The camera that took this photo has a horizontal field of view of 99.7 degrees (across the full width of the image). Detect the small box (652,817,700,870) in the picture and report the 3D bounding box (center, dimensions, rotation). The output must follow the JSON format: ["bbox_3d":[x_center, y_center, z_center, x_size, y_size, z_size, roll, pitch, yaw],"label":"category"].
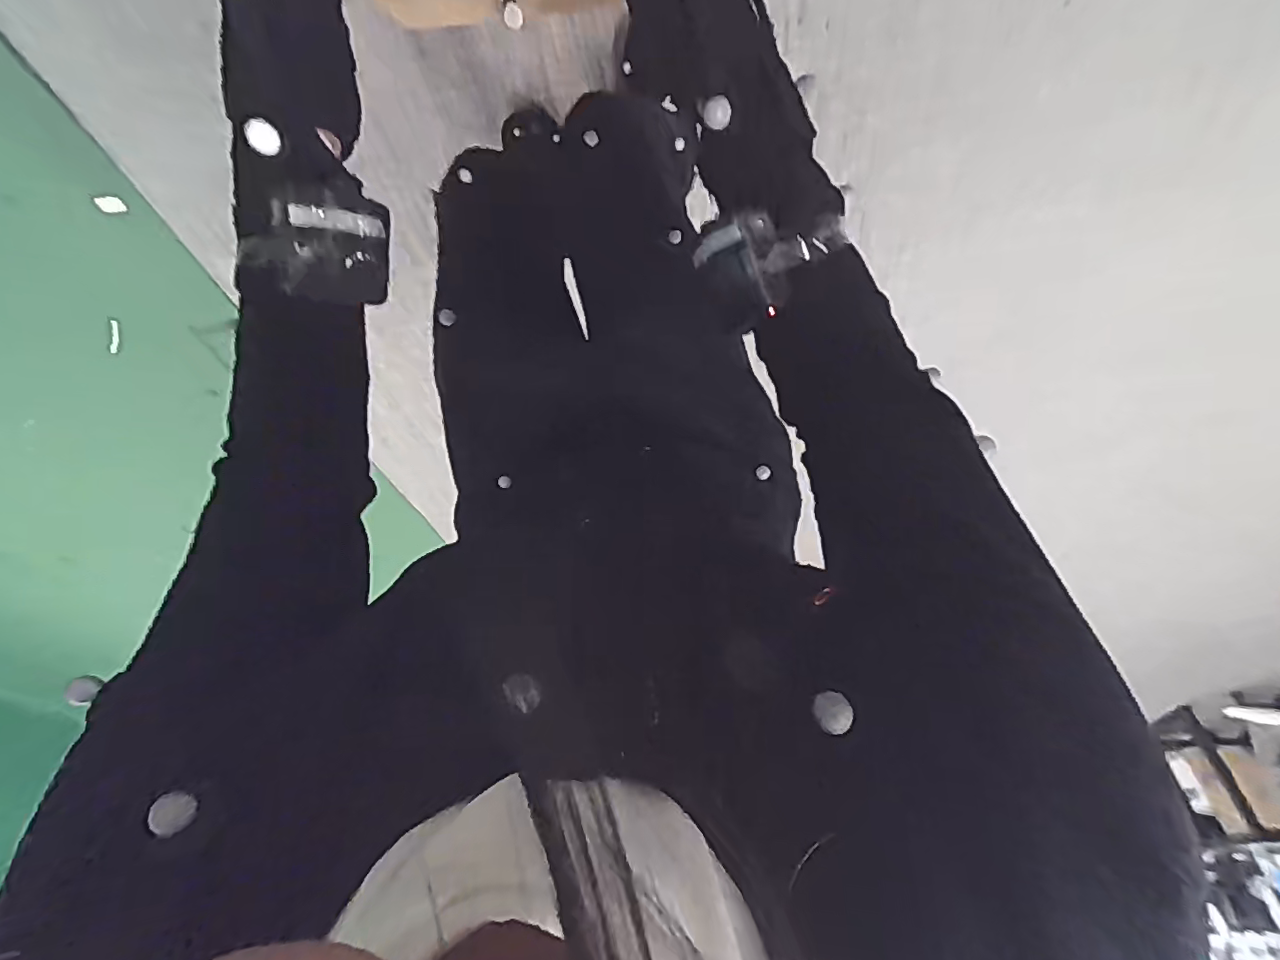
[{"bbox_3d":[0.149,1.525,2.263,0.179,0.176,0.168,-9,142,9],"label":"small box"}]
